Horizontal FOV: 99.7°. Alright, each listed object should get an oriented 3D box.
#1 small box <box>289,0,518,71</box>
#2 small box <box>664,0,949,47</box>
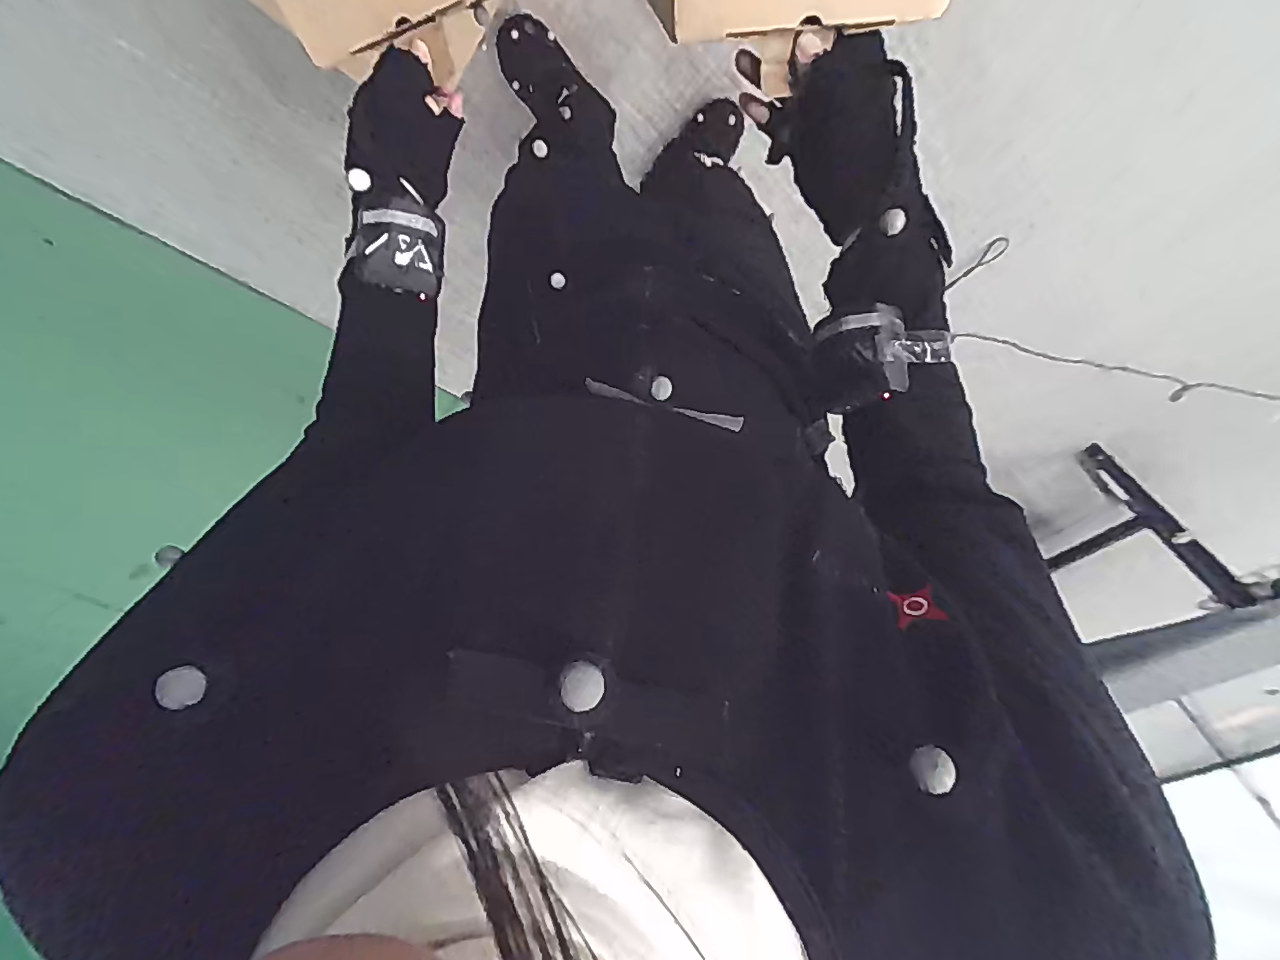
[{"bbox_3d":[-0.185,-0.449,0.405,0.168,0.176,0.179,-10,131,15],"label":"small box"},{"bbox_3d":[0.095,-0.386,0.314,0.168,0.176,0.179,-7,141,-4],"label":"small box"}]
